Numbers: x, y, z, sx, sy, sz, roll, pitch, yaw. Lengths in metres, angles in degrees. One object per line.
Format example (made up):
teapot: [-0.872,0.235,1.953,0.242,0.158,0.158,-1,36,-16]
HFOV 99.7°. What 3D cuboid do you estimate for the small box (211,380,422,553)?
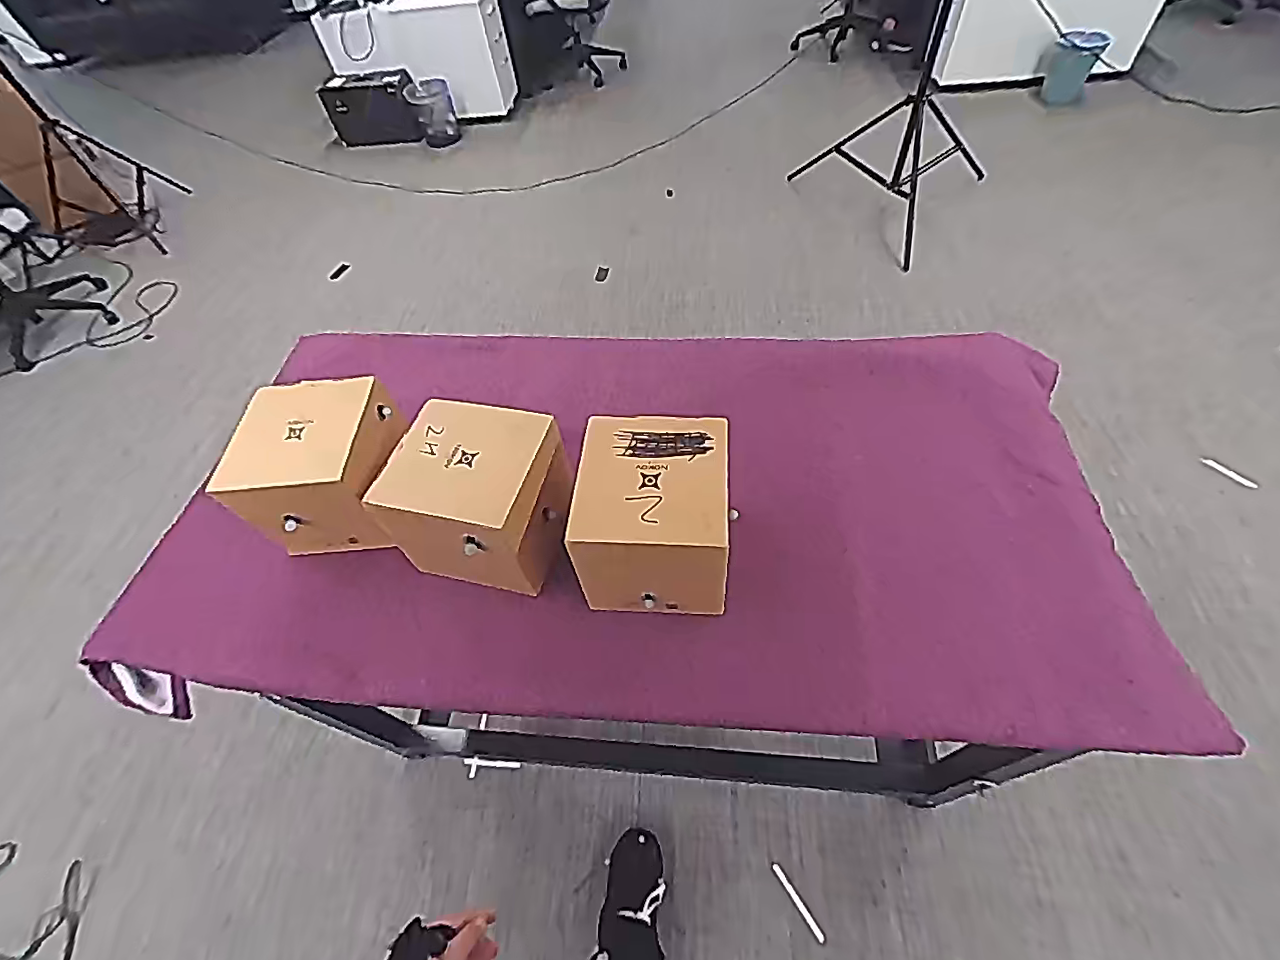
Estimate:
small box: [-0.422,-0.010,0.746,0.168,0.176,0.179,-6,53,2]
